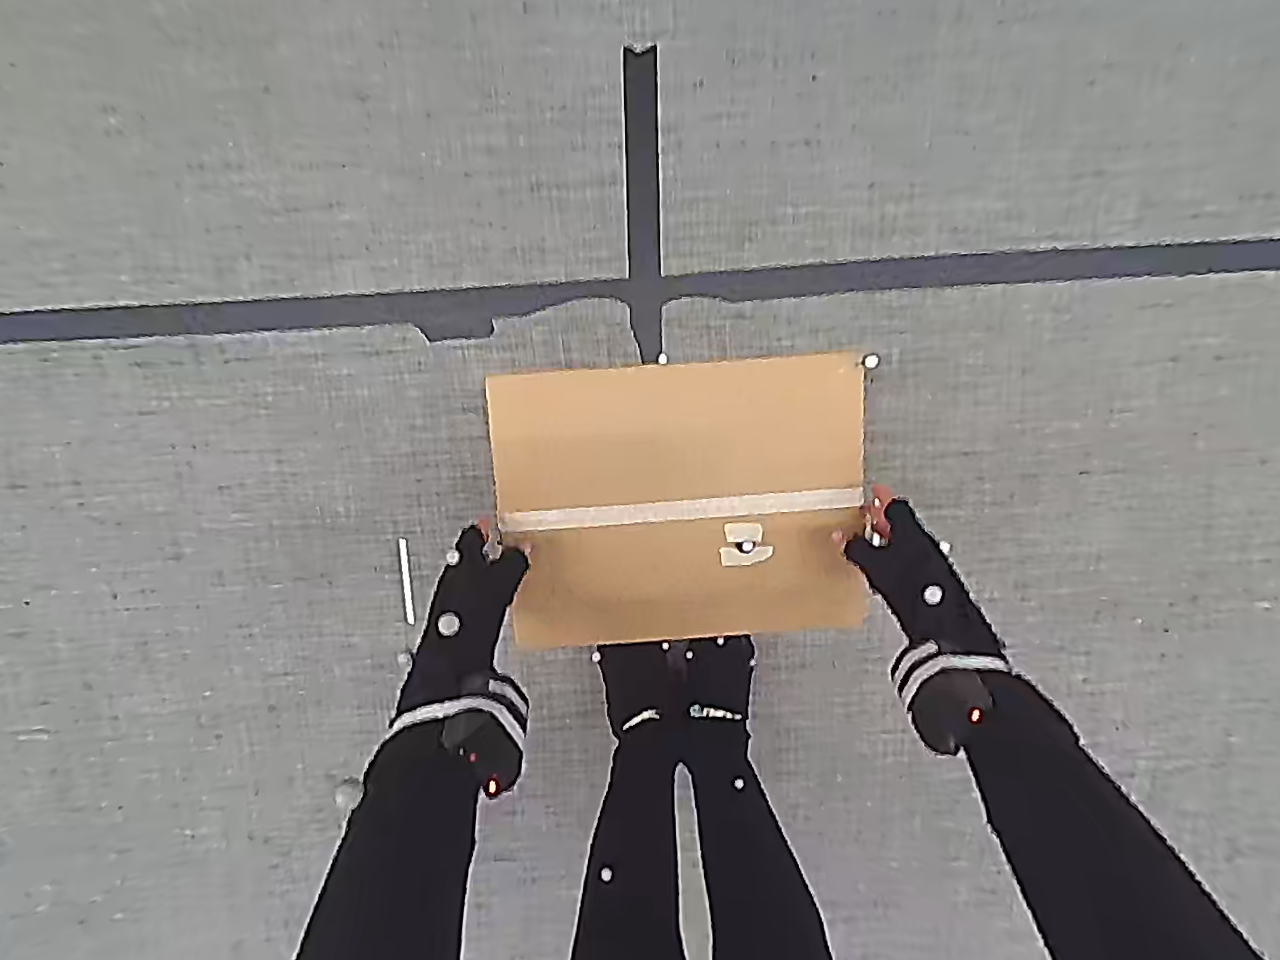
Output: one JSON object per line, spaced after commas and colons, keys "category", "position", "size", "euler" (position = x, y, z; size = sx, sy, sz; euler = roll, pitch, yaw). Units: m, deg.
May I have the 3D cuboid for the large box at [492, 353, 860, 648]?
{"category": "large box", "position": [0.042, 0.006, 0.755], "size": [0.408, 0.320, 0.320], "euler": [-4, 100, -2]}
